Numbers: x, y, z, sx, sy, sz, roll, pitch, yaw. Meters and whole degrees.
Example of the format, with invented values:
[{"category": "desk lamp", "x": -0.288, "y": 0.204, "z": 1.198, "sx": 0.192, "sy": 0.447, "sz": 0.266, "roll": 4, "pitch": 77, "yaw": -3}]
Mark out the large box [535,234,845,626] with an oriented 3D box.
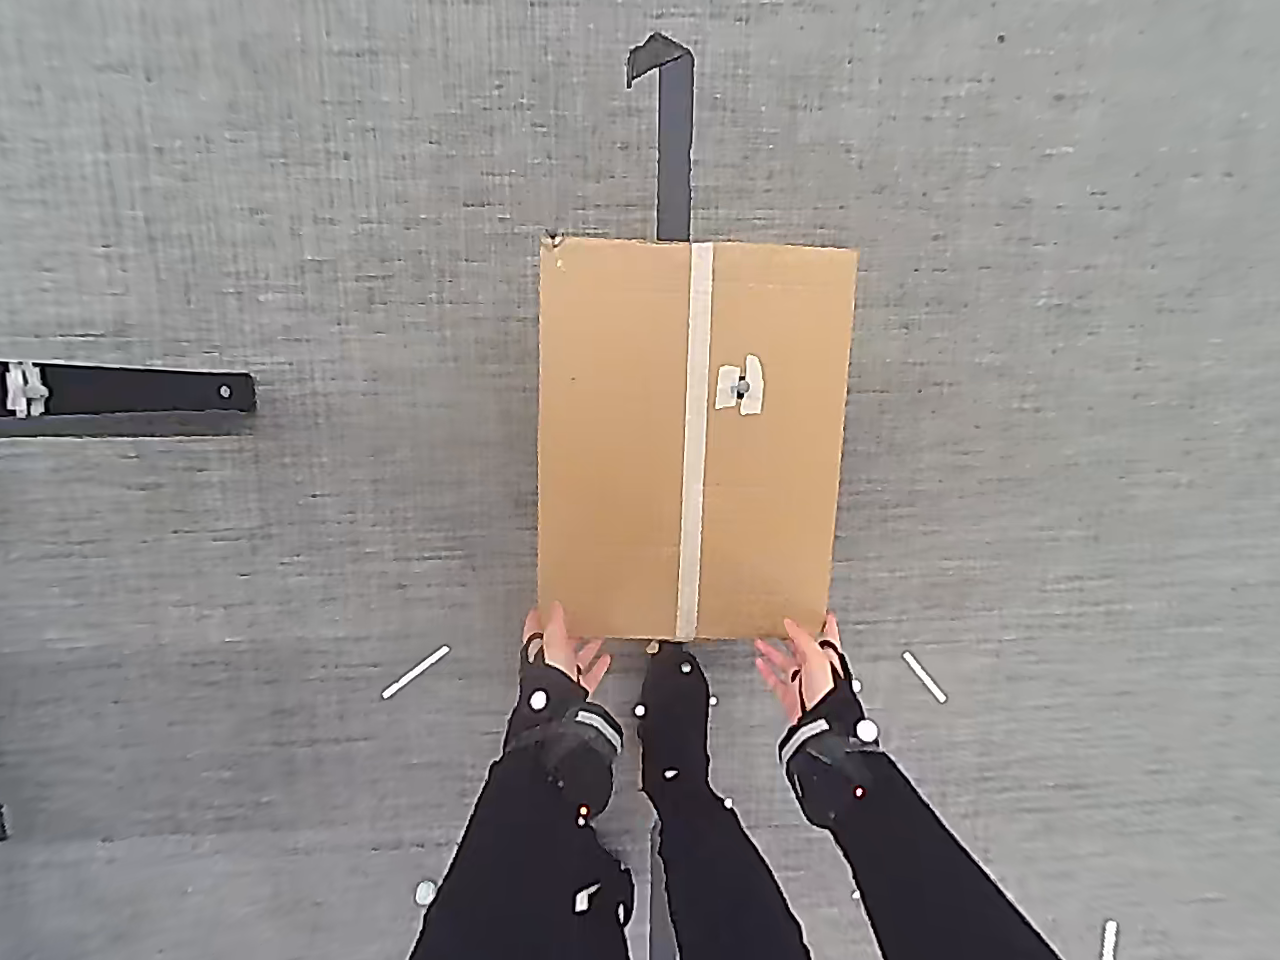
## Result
[{"category": "large box", "x": 0.044, "y": -0.058, "z": 0.700, "sx": 0.320, "sy": 0.320, "sz": 0.408, "roll": 1, "pitch": 97, "yaw": -3}]
